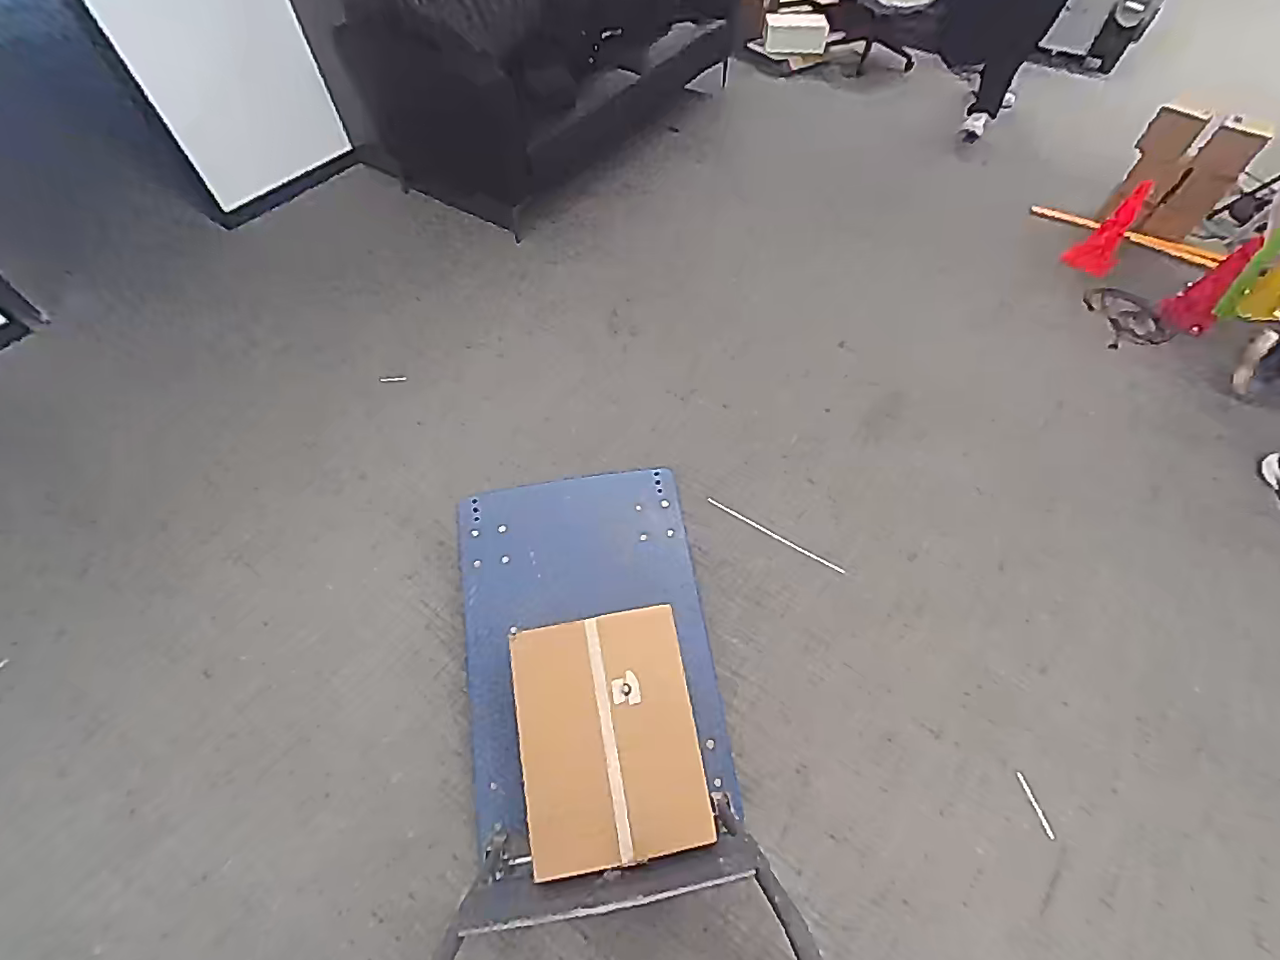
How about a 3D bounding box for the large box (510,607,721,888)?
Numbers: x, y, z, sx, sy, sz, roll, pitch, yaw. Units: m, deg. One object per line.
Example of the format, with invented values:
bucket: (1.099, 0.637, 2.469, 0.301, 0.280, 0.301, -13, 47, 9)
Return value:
large box: (-0.054, 0.503, 1.090, 0.320, 0.320, 0.408, -10, 71, -6)
